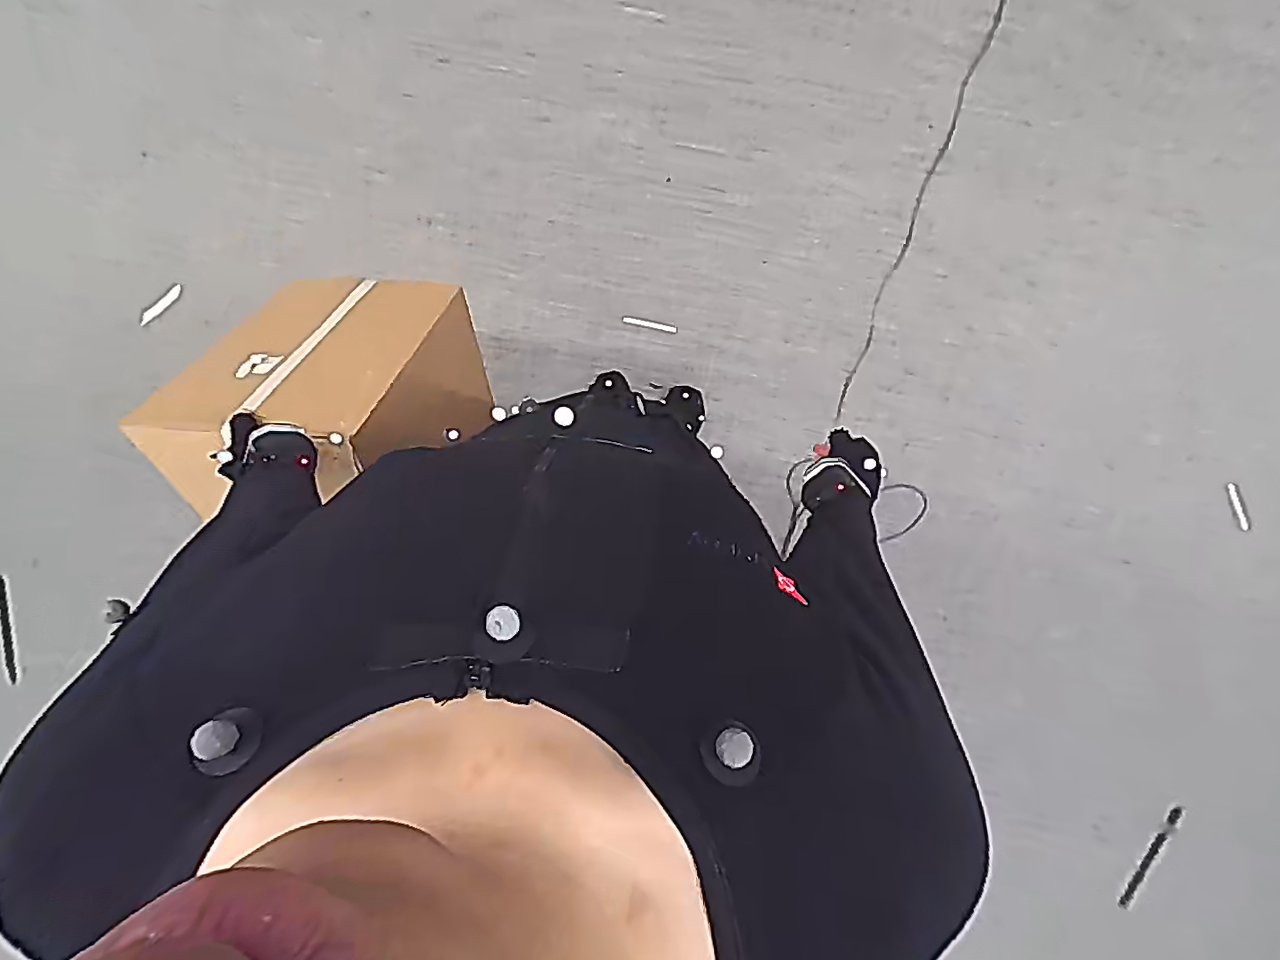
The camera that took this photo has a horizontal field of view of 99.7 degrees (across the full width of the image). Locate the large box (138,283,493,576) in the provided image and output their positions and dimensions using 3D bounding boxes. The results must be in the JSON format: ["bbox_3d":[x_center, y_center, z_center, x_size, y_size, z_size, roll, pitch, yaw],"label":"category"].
[{"bbox_3d":[-0.483,-0.095,0.932,0.320,0.408,0.320,3,138,7],"label":"large box"}]
